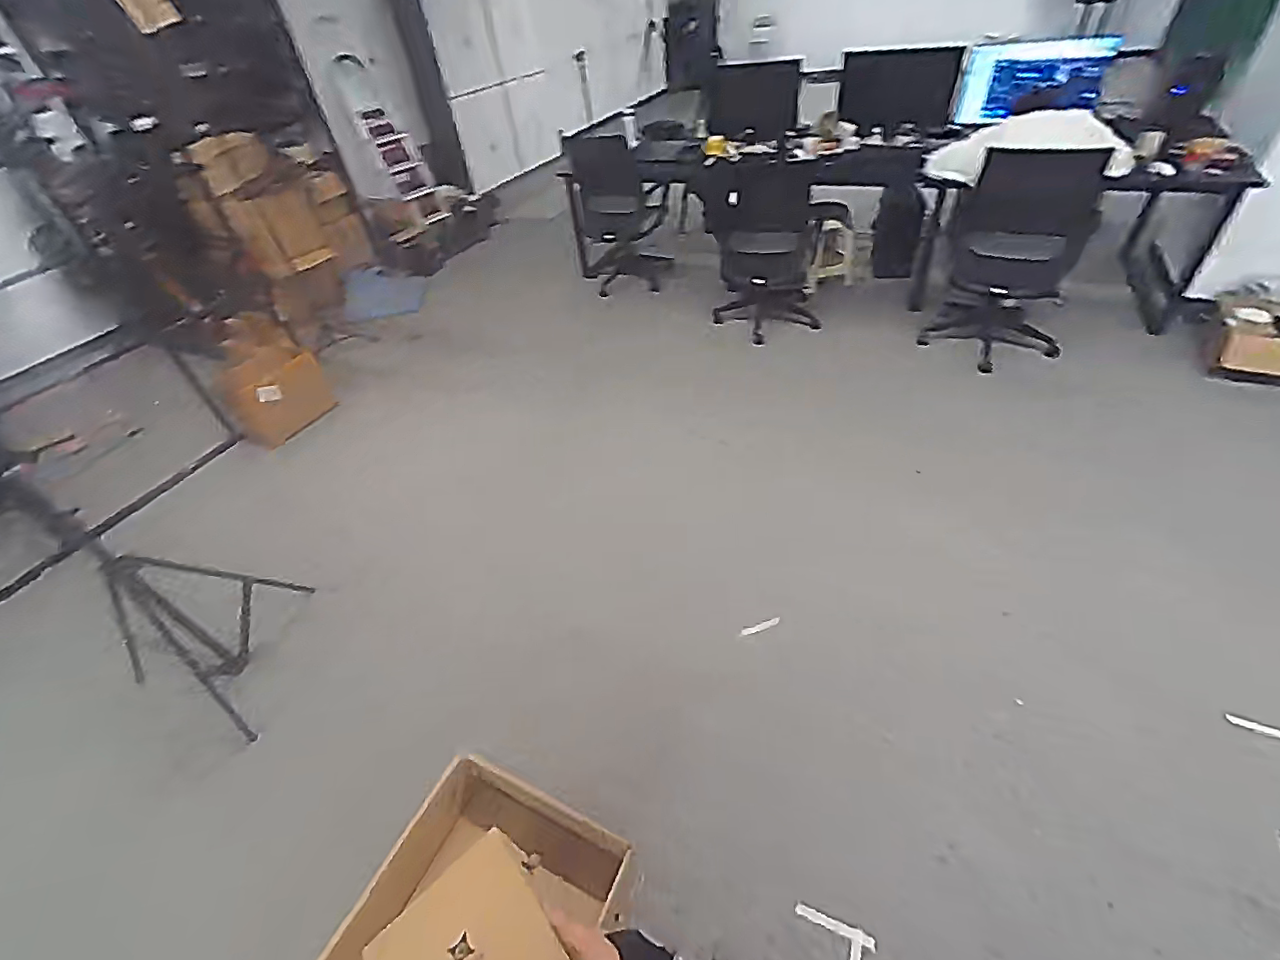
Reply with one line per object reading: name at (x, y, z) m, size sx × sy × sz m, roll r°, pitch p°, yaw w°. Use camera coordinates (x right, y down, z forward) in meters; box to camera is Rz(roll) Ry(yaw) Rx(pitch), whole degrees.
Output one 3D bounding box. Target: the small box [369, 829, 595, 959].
small box at (-0.151, 0.536, 0.580) m, size 0.168 × 0.176 × 0.179 m, roll -36°, pitch 42°, yaw -24°
